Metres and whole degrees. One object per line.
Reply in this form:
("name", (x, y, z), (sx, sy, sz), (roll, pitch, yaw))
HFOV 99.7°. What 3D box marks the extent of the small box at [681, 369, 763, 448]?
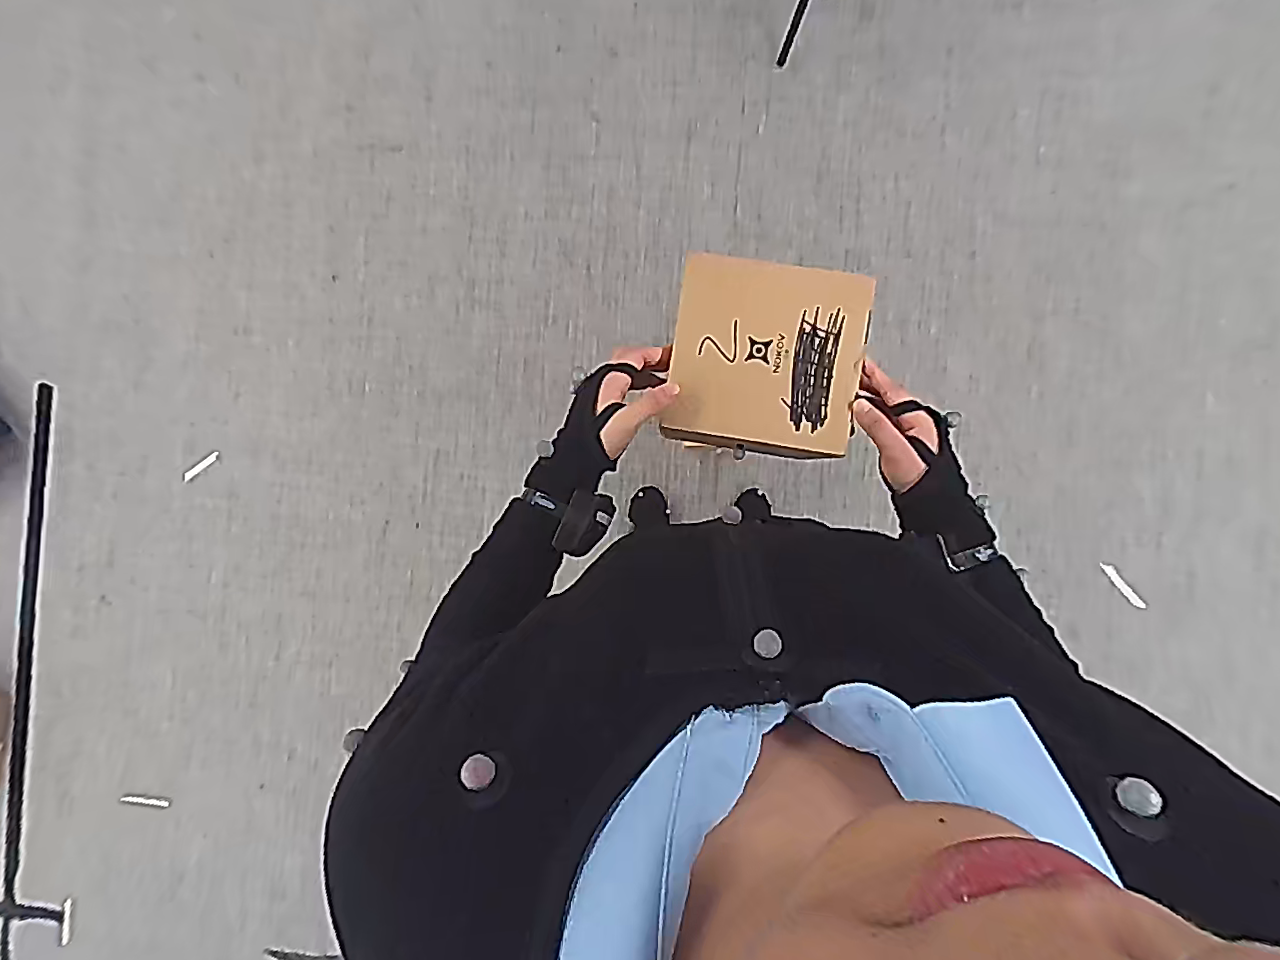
("small box", (0.185, -0.161, 1.257), (0.179, 0.176, 0.168), (-2, 90, 5))
